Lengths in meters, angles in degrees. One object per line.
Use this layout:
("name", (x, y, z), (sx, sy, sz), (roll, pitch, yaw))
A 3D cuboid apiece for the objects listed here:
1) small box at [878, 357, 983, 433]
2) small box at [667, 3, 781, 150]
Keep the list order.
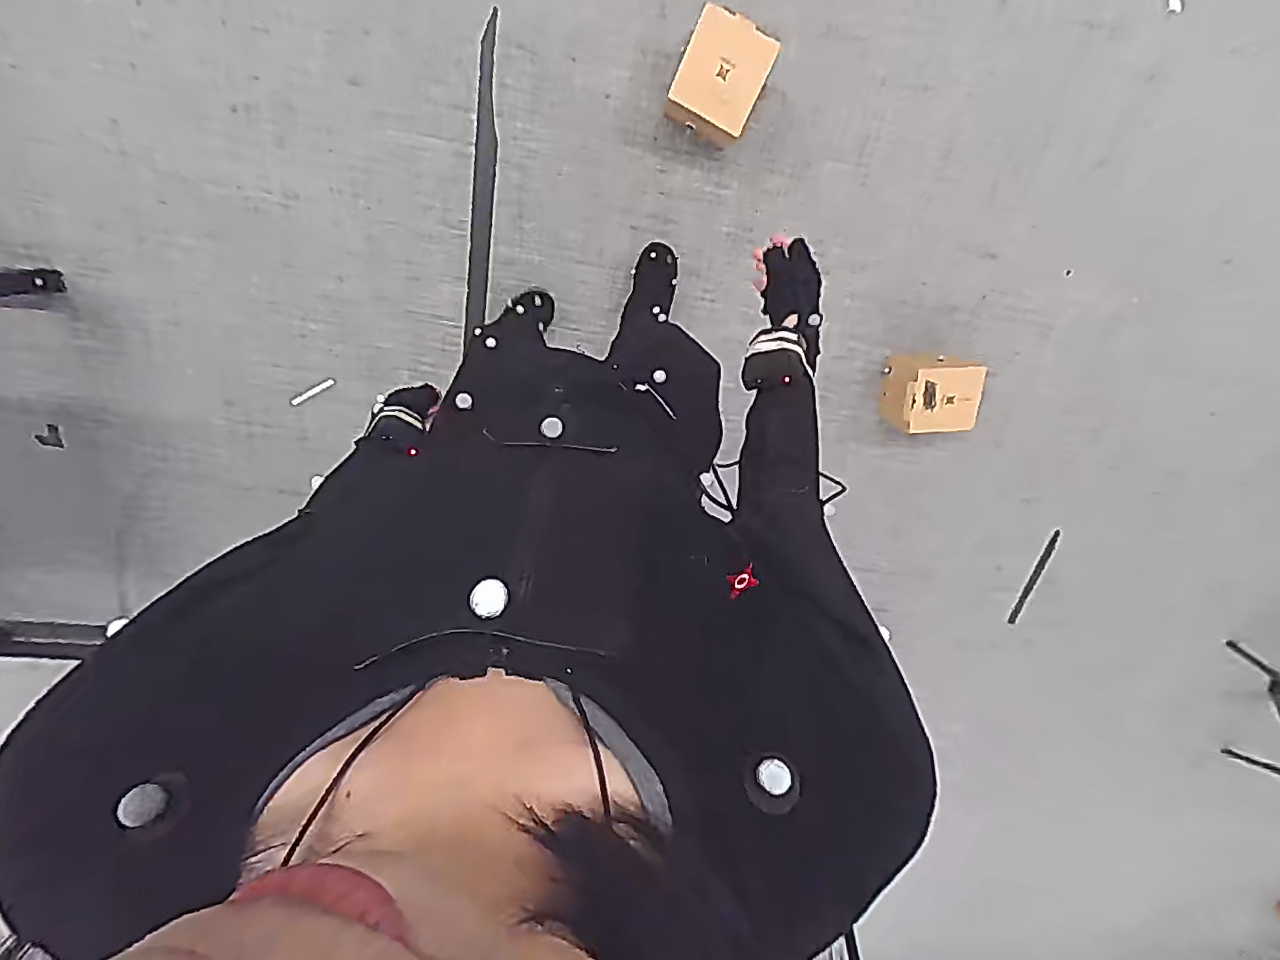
("small box", (0.752, -0.226, 1.423), (0.179, 0.176, 0.168), (-2, 113, -2))
("small box", (0.164, -0.831, 1.137), (0.168, 0.176, 0.179), (24, 112, -10))
